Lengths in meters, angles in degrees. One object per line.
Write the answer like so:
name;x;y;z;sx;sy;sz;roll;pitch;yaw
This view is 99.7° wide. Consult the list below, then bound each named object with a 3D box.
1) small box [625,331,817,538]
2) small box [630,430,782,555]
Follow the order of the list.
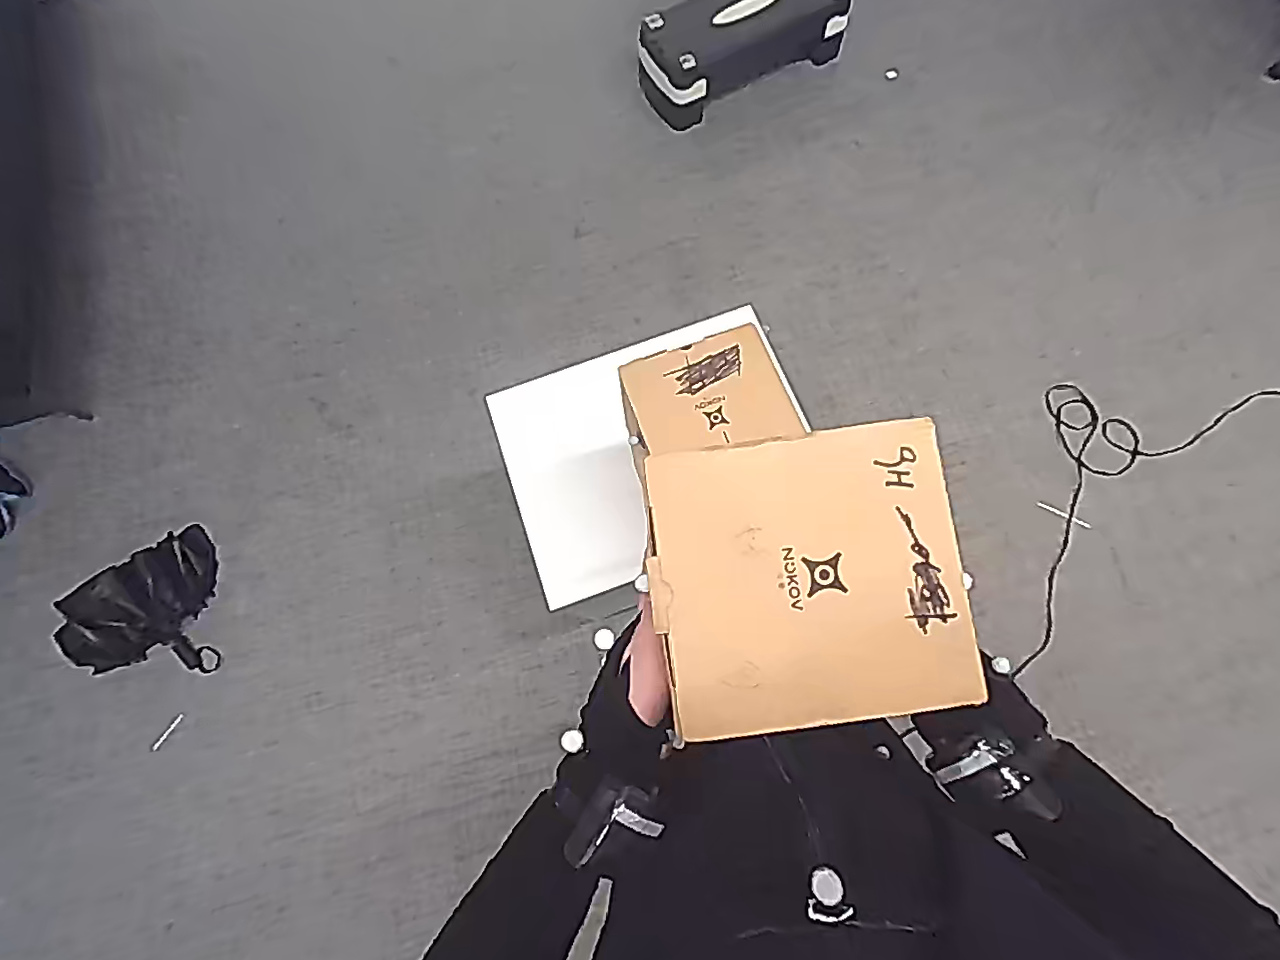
small box;0.086;-0.045;0.663;0.168;0.176;0.179;-19;74;-3
small box;0.094;0.005;0.820;0.168;0.176;0.179;-19;71;-4
